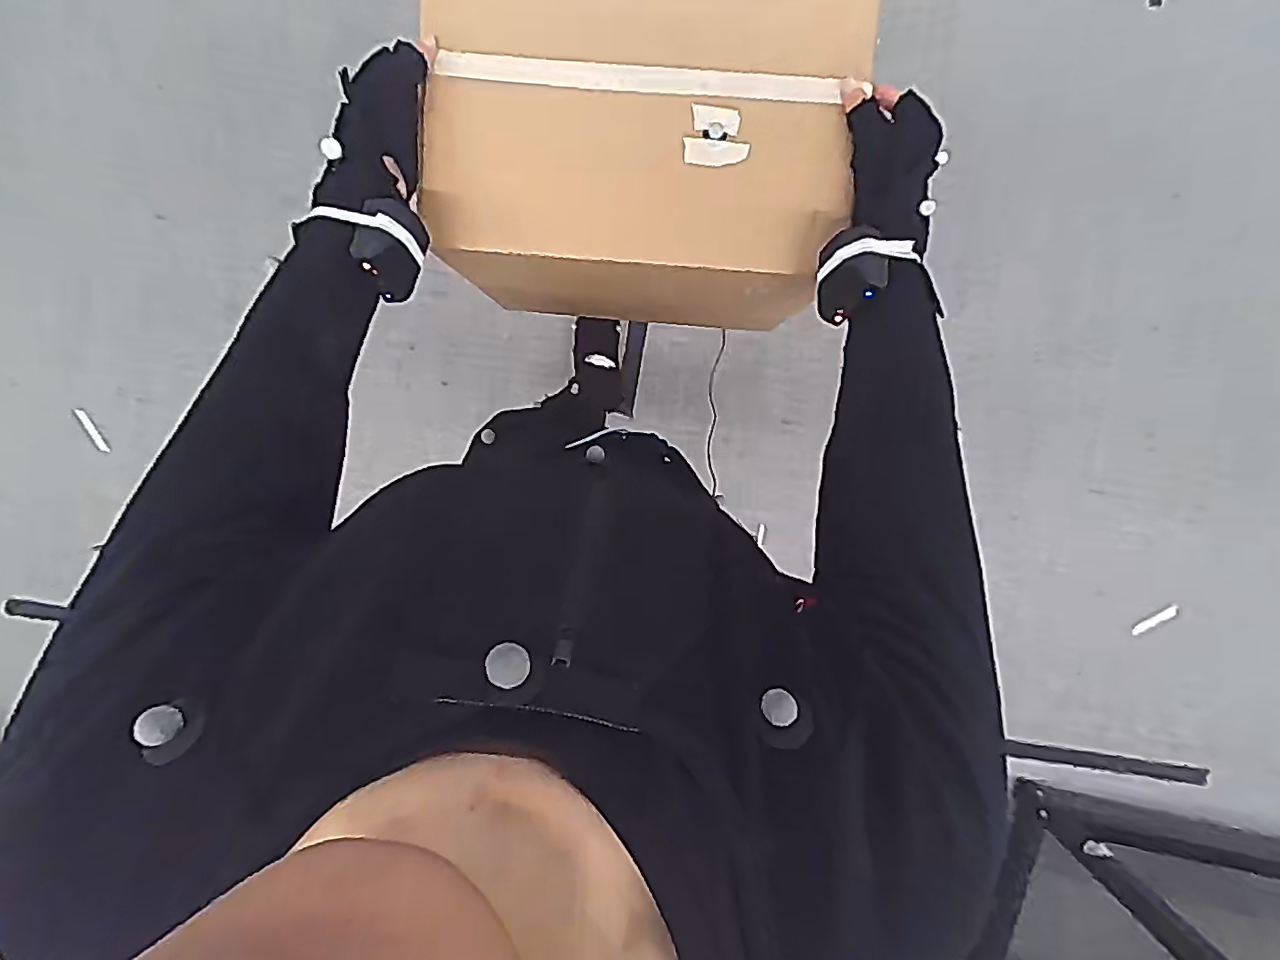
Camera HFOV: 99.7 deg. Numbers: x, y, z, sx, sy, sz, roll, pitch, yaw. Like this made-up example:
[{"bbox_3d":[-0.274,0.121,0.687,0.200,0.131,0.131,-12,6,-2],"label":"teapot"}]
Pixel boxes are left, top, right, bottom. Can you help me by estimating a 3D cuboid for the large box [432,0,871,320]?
[{"bbox_3d":[0.006,-0.385,0.647,0.408,0.320,0.320,4,97,-1],"label":"large box"}]
